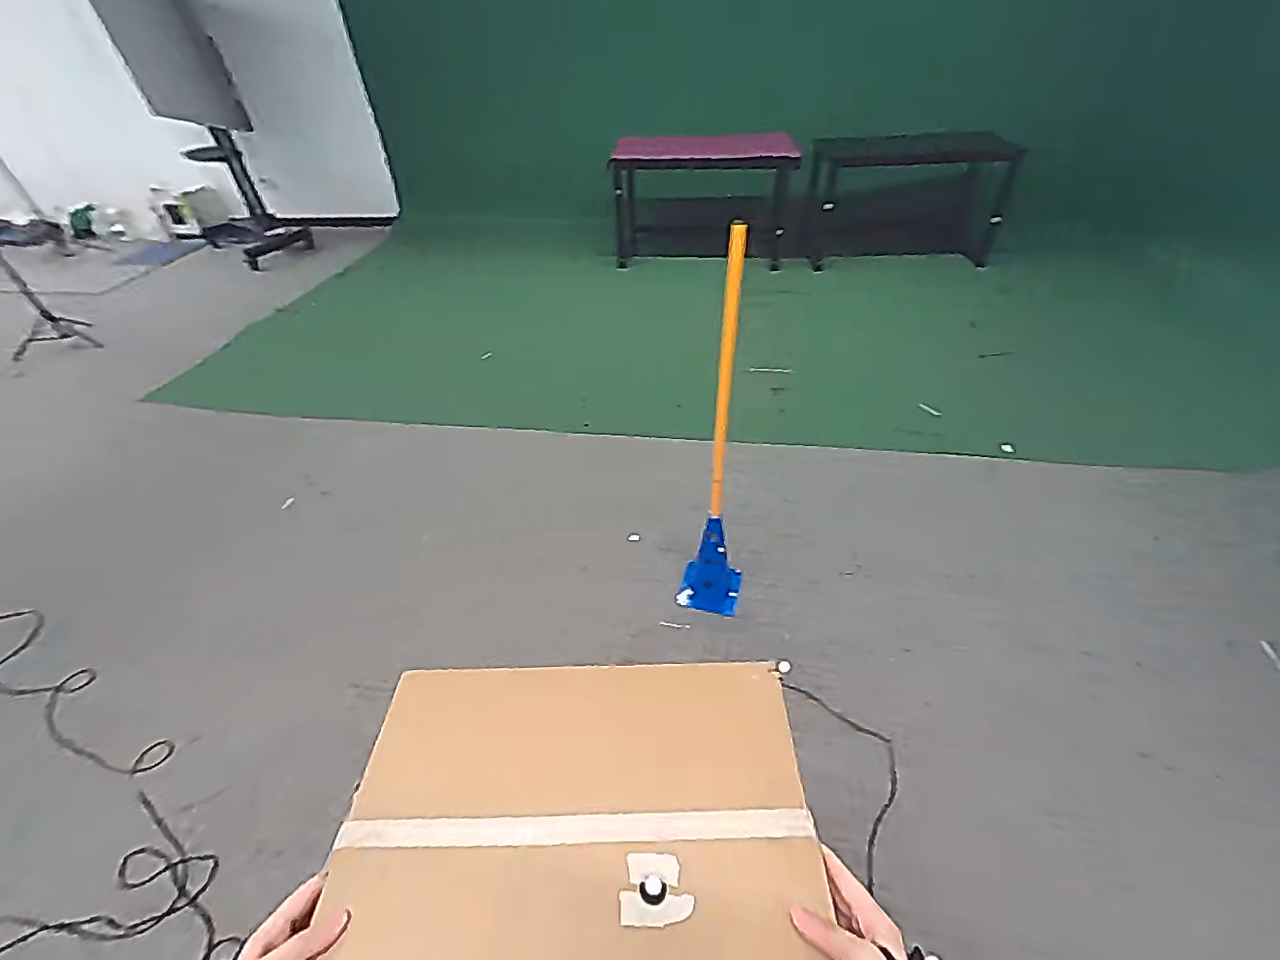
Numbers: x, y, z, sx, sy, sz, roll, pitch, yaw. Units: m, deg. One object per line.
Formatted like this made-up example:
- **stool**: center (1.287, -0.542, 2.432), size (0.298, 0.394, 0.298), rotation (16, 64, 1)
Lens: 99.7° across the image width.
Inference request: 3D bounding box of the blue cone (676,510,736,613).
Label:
- **blue cone**: center (0.224, 0.252, 1.771), size (0.193, 0.380, 0.192), rotation (10, 42, 14)

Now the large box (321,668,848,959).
- **large box**: center (-0.042, 0.420, 0.565), size (0.408, 0.320, 0.320), rotation (0, 40, 1)
